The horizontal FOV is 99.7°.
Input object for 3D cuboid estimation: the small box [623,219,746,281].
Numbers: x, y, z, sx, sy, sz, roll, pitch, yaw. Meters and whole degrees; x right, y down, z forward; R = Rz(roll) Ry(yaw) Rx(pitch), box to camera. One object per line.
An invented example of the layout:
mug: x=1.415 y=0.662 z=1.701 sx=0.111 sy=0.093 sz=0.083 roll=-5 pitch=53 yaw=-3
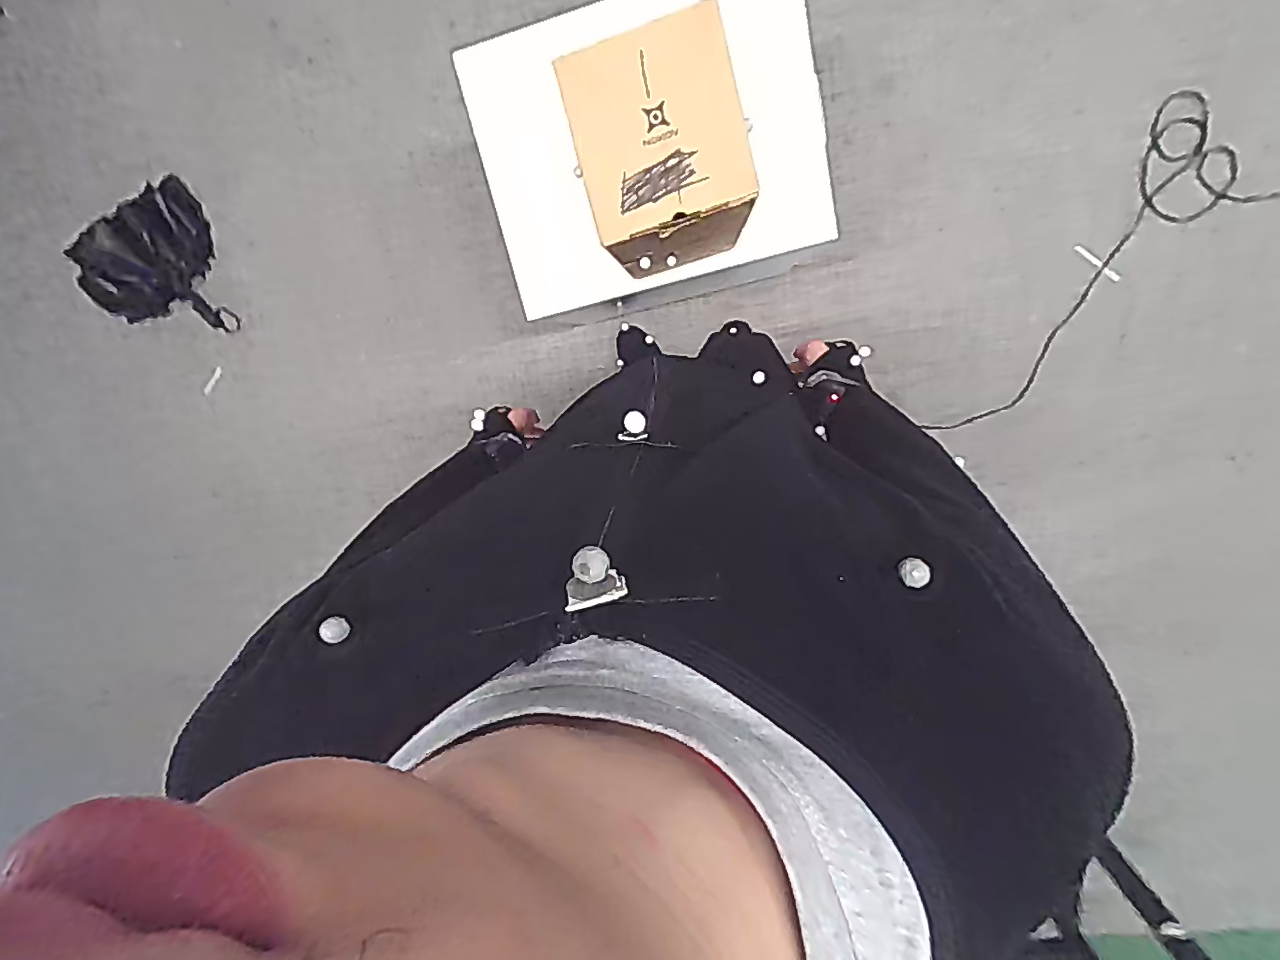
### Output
small box: x=0.041 y=-0.398 z=0.759 sx=0.168 sy=0.176 sz=0.179 roll=-16 pitch=102 yaw=10

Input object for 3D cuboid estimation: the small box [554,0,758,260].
small box: x=0.025 y=-0.358 z=0.598 sx=0.168 sy=0.176 sz=0.179 roll=-15 pitch=101 yaw=9
